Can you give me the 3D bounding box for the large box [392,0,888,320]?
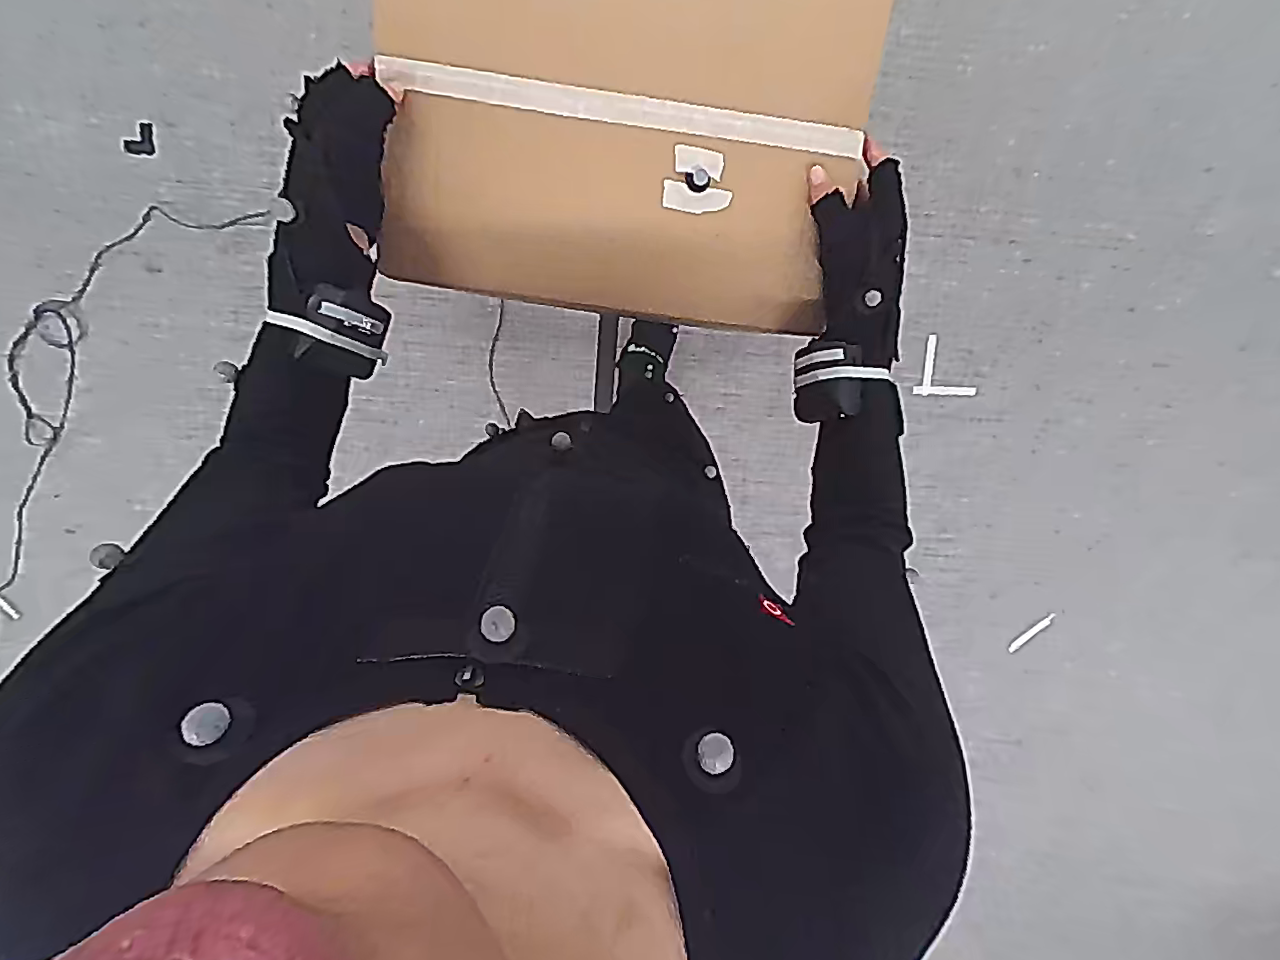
[{"bbox_3d":[-0.012,-0.359,0.595,0.408,0.320,0.320,6,106,-4],"label":"large box"}]
